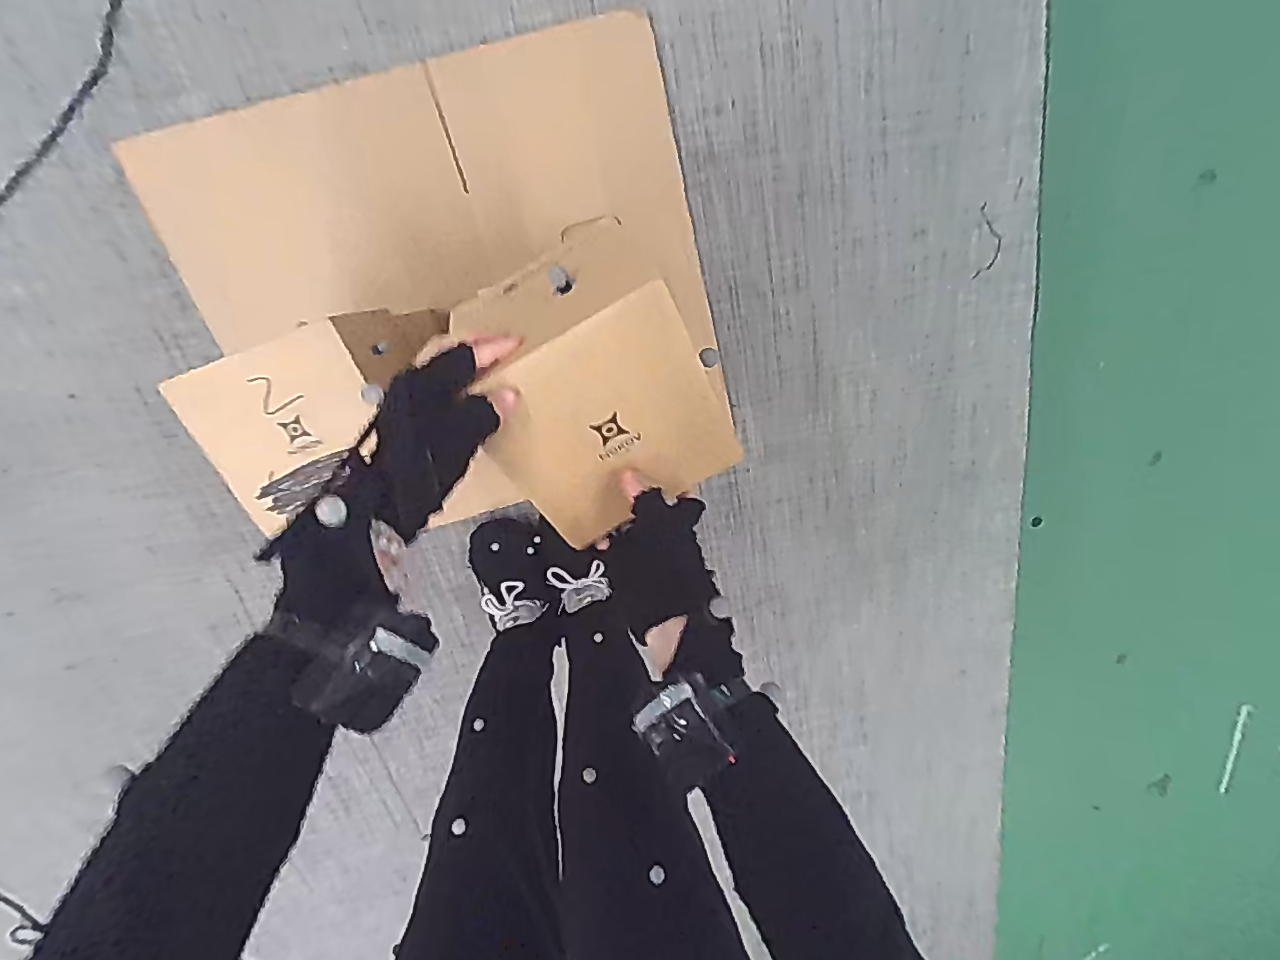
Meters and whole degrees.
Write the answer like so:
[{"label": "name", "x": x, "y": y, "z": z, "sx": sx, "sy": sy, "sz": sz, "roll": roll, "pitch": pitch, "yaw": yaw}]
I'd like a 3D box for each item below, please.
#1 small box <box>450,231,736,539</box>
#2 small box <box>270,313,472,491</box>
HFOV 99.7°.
[{"label": "small box", "x": -0.043, "y": -0.089, "z": 0.464, "sx": 0.168, "sy": 0.176, "sz": 0.179, "roll": -27, "pitch": 132, "yaw": 5}, {"label": "small box", "x": -0.342, "y": -0.114, "z": 0.738, "sx": 0.168, "sy": 0.176, "sz": 0.179, "roll": -21, "pitch": 111, "yaw": 0}]
